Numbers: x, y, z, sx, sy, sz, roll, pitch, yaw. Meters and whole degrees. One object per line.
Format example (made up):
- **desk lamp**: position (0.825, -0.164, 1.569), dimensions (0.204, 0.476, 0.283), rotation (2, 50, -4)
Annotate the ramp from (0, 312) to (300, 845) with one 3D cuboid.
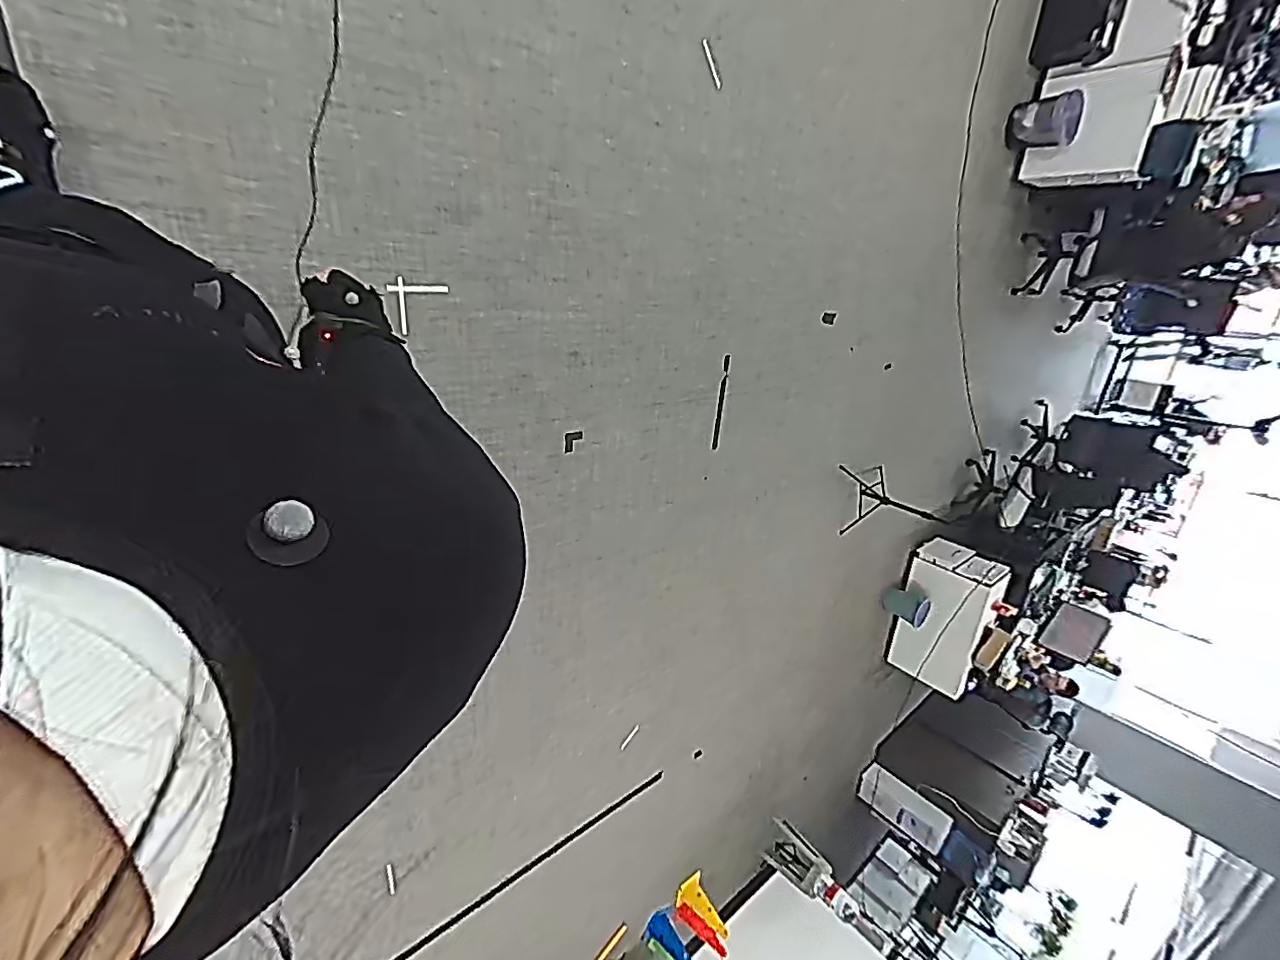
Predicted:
- **ramp**: position (-1.043, 0.181, 1.095), dimensions (0.509, 0.206, 0.991), rotation (-12, 115, -38)
